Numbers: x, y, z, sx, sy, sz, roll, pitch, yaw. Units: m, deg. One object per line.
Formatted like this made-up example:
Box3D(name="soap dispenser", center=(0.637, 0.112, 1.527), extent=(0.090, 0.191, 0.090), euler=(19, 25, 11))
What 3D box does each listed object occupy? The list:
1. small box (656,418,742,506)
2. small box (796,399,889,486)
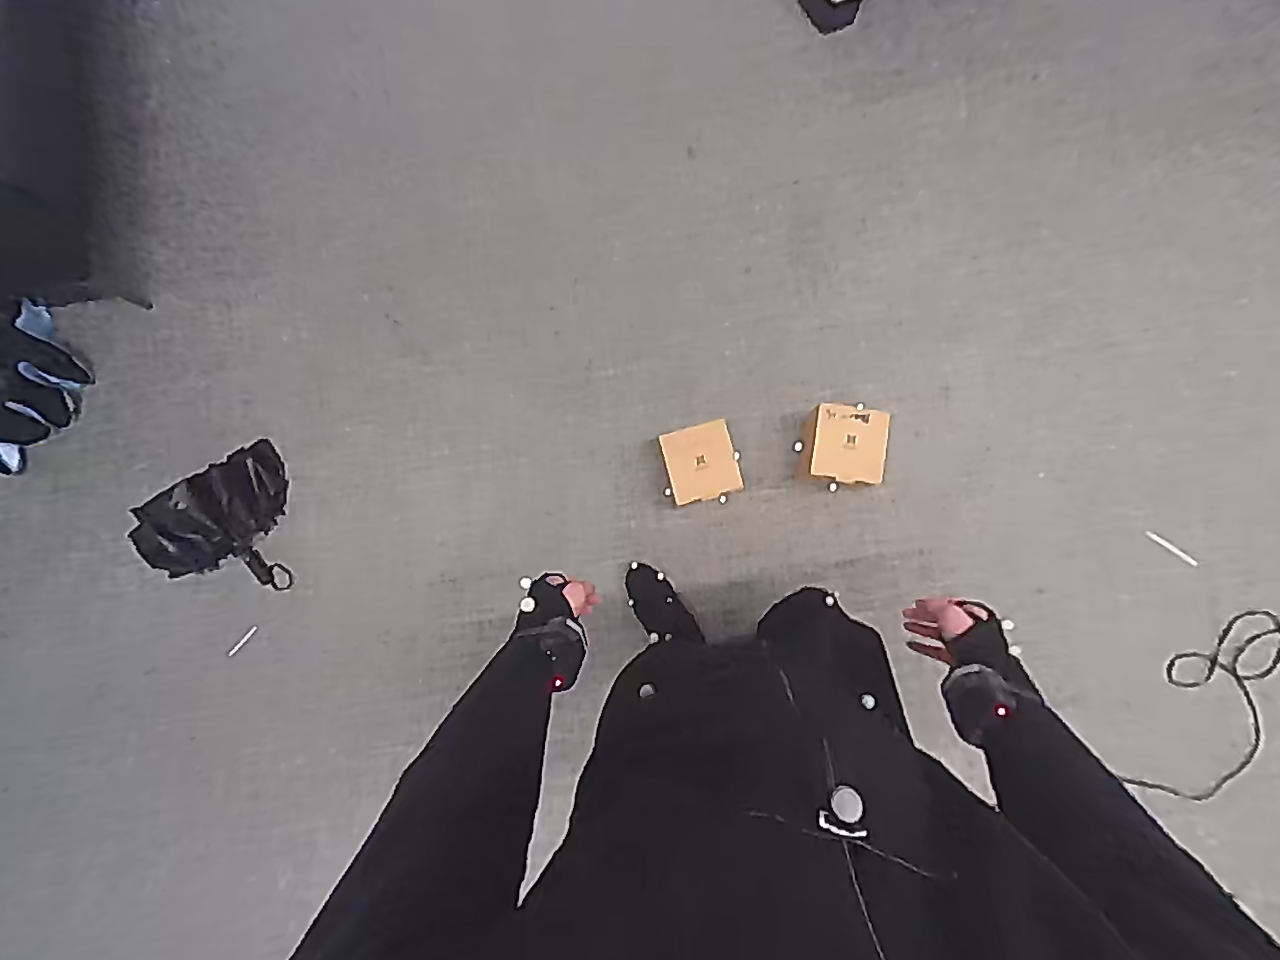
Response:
Box3D(name="small box", center=(0.144, -0.036, 1.348), extent=(0.168, 0.176, 0.179), euler=(-17, 83, 0))
Box3D(name="small box", center=(0.490, -0.085, 1.333), extent=(0.168, 0.176, 0.179), euler=(9, 85, 4))
